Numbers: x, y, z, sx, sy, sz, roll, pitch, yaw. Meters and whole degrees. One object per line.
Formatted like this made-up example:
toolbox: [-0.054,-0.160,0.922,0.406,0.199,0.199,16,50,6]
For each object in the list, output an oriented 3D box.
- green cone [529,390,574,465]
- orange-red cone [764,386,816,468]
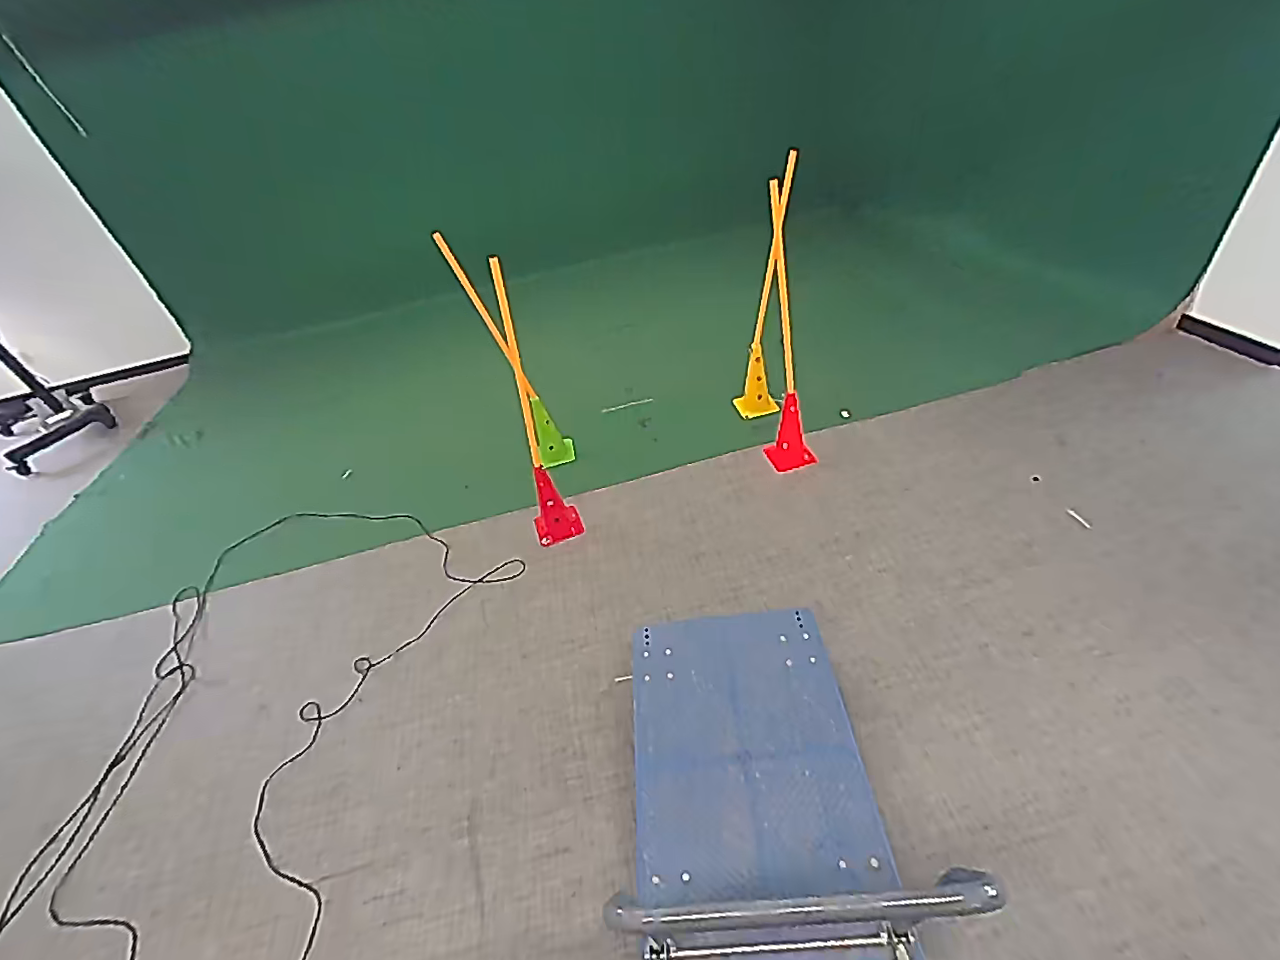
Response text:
green cone: [-0.479,-0.285,2.720,0.200,0.368,0.202,-15,39,-3]
orange-red cone: [0.671,-0.260,2.416,0.198,0.360,0.199,-14,38,-4]
